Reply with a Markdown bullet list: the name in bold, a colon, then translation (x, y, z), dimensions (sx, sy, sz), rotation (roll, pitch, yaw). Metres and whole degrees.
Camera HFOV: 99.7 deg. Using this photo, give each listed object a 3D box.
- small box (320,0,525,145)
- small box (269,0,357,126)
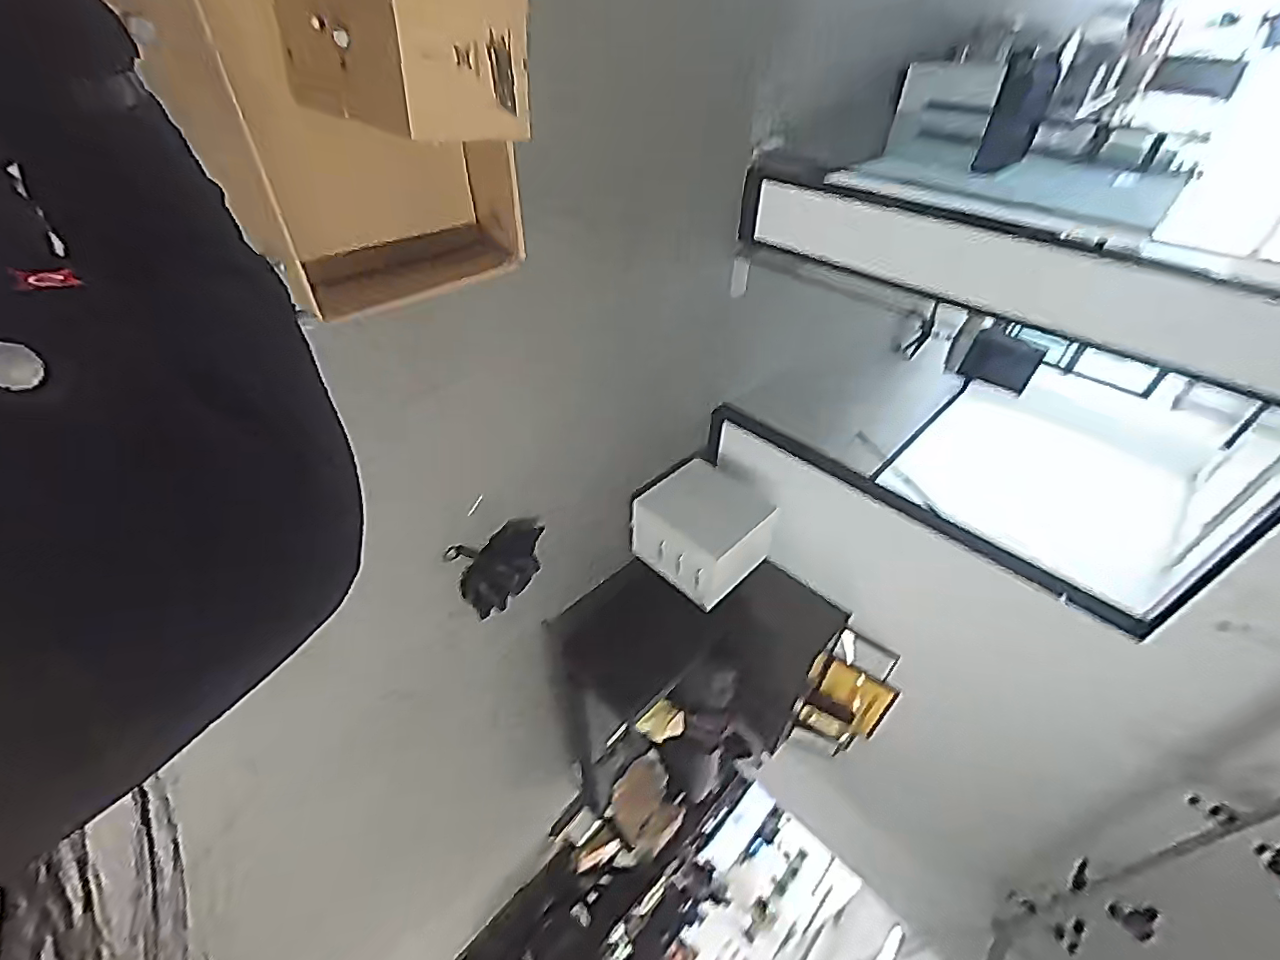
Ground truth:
- **small box**: translation (-0.265, -0.529, 0.676), dimensions (0.179, 0.176, 0.168), rotation (-29, 140, -38)
- **small box**: translation (-0.384, -0.603, 0.761), dimensions (0.179, 0.176, 0.168), rotation (-29, 139, -40)
